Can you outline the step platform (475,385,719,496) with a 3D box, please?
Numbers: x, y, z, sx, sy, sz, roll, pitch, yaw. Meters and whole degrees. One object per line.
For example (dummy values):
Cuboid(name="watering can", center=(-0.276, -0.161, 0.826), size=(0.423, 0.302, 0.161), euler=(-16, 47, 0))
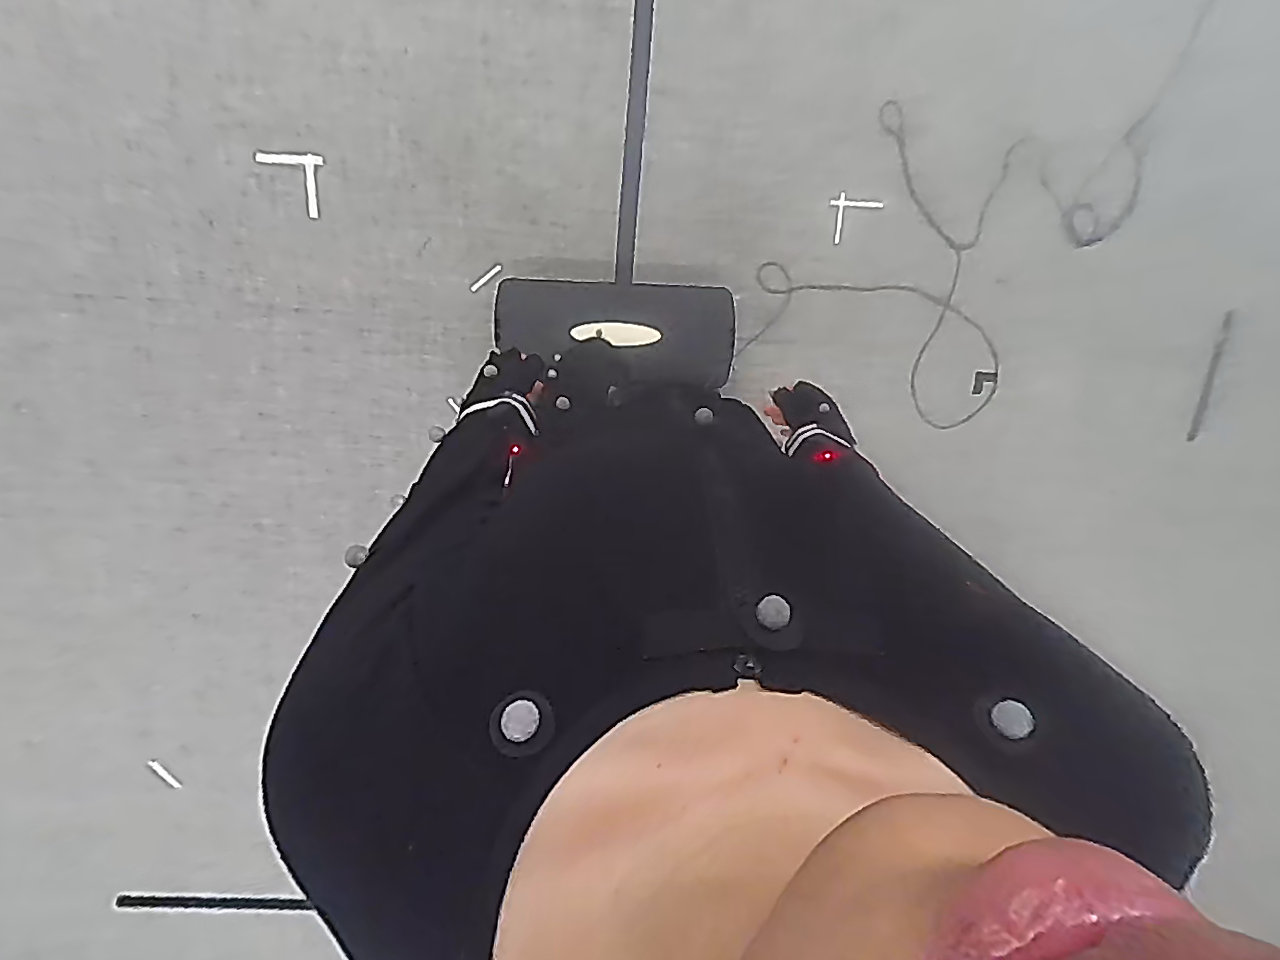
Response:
Cuboid(name="step platform", center=(-0.116, -0.115, 1.547), size=(0.684, 0.204, 0.286), euler=(2, 102, -2))
